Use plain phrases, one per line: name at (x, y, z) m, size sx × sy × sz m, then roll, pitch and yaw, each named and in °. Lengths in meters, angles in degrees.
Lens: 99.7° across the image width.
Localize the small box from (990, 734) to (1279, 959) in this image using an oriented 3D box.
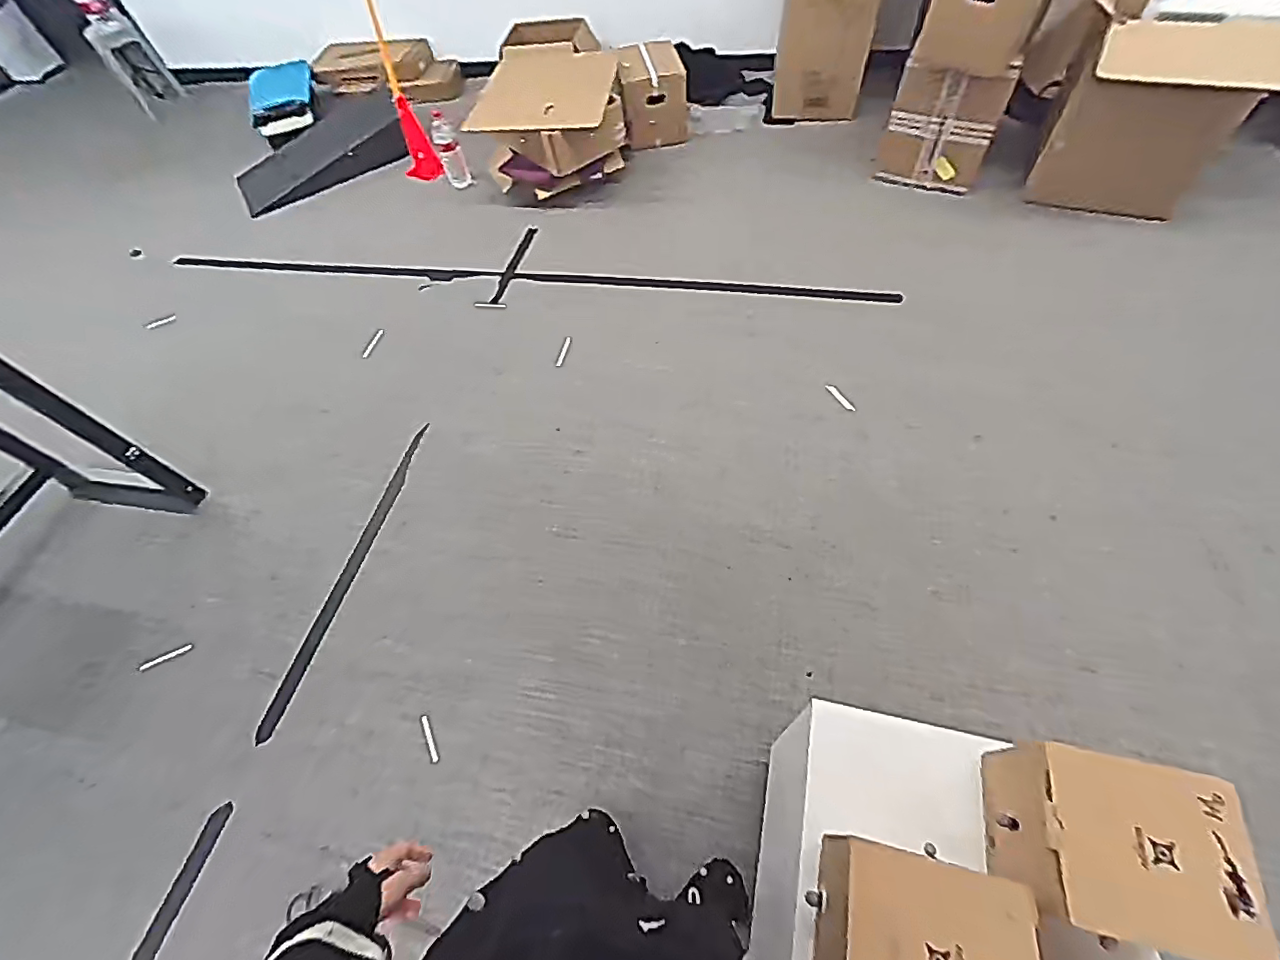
small box at (0.515, 0.402, 0.603) m, size 0.179 × 0.176 × 0.168 m, roll 8°, pitch 60°, yaw 14°
